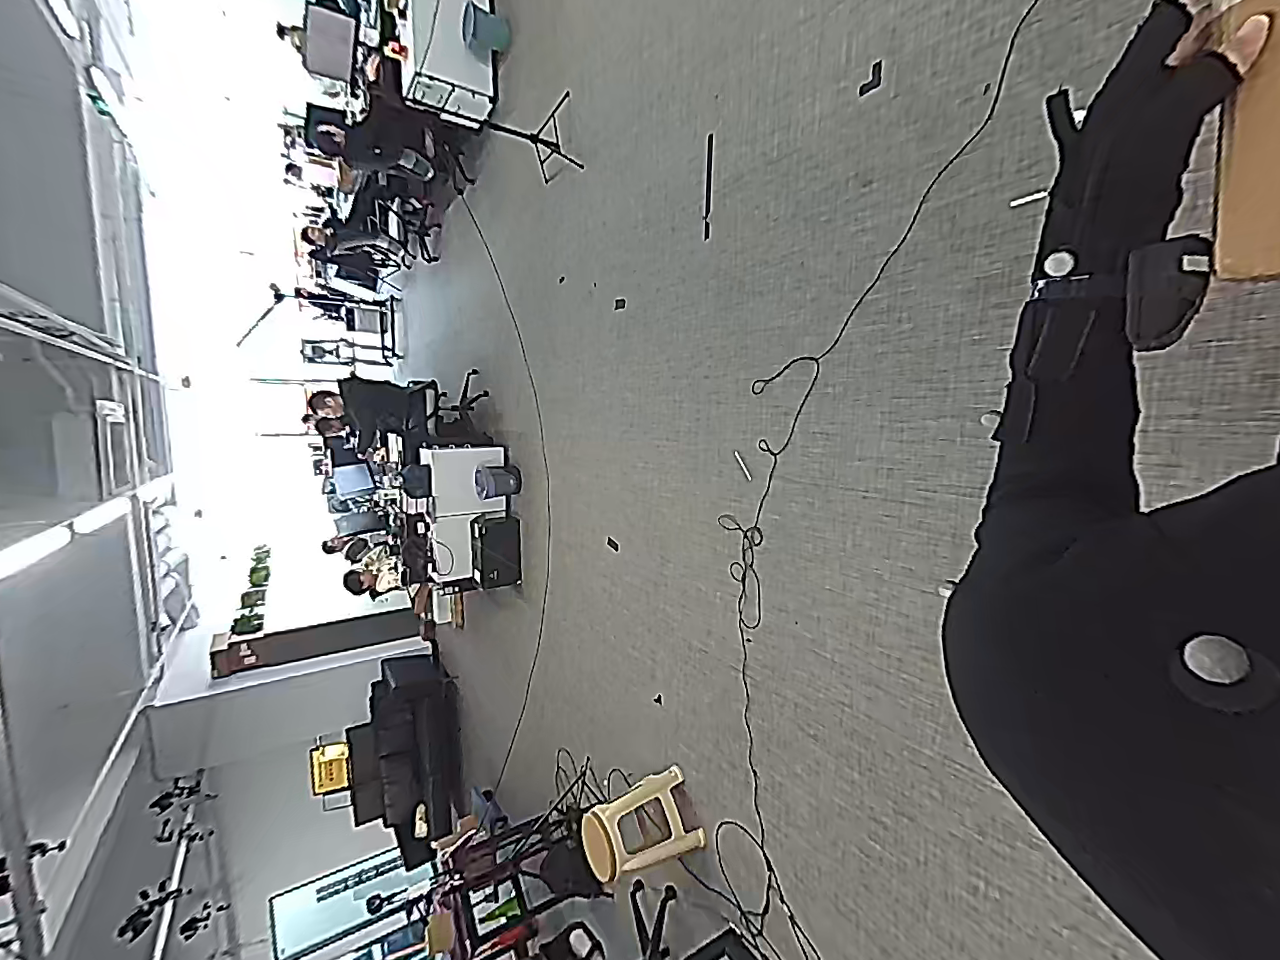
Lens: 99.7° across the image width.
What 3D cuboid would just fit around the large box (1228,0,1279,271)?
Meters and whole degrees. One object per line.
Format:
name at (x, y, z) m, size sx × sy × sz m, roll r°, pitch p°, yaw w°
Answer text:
large box at (0.561, -0.294, 0.223) m, size 0.408 × 0.320 × 0.320 m, roll 6°, pitch 108°, yaw 53°
